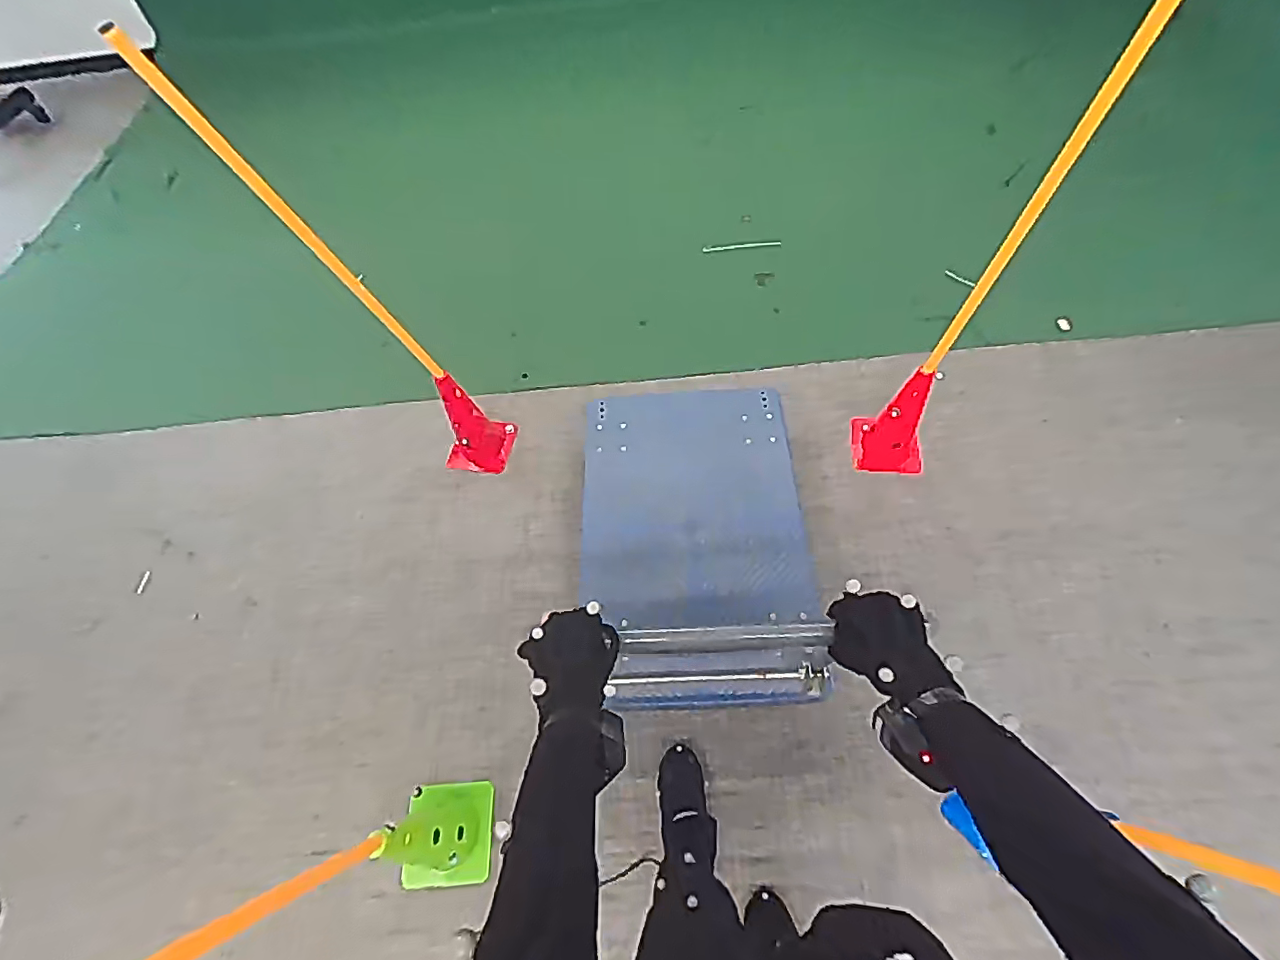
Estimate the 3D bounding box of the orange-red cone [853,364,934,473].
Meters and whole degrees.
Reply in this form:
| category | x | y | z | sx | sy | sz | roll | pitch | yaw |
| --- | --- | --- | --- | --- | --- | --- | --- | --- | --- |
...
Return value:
| category | x | y | z | sx | sy | sz | roll | pitch | yaw |
| --- | --- | --- | --- | --- | --- | --- | --- | --- | --- |
| orange-red cone | 0.745 | -0.194 | 1.521 | 0.198 | 0.360 | 0.199 | 5 | 62 | 9 |
